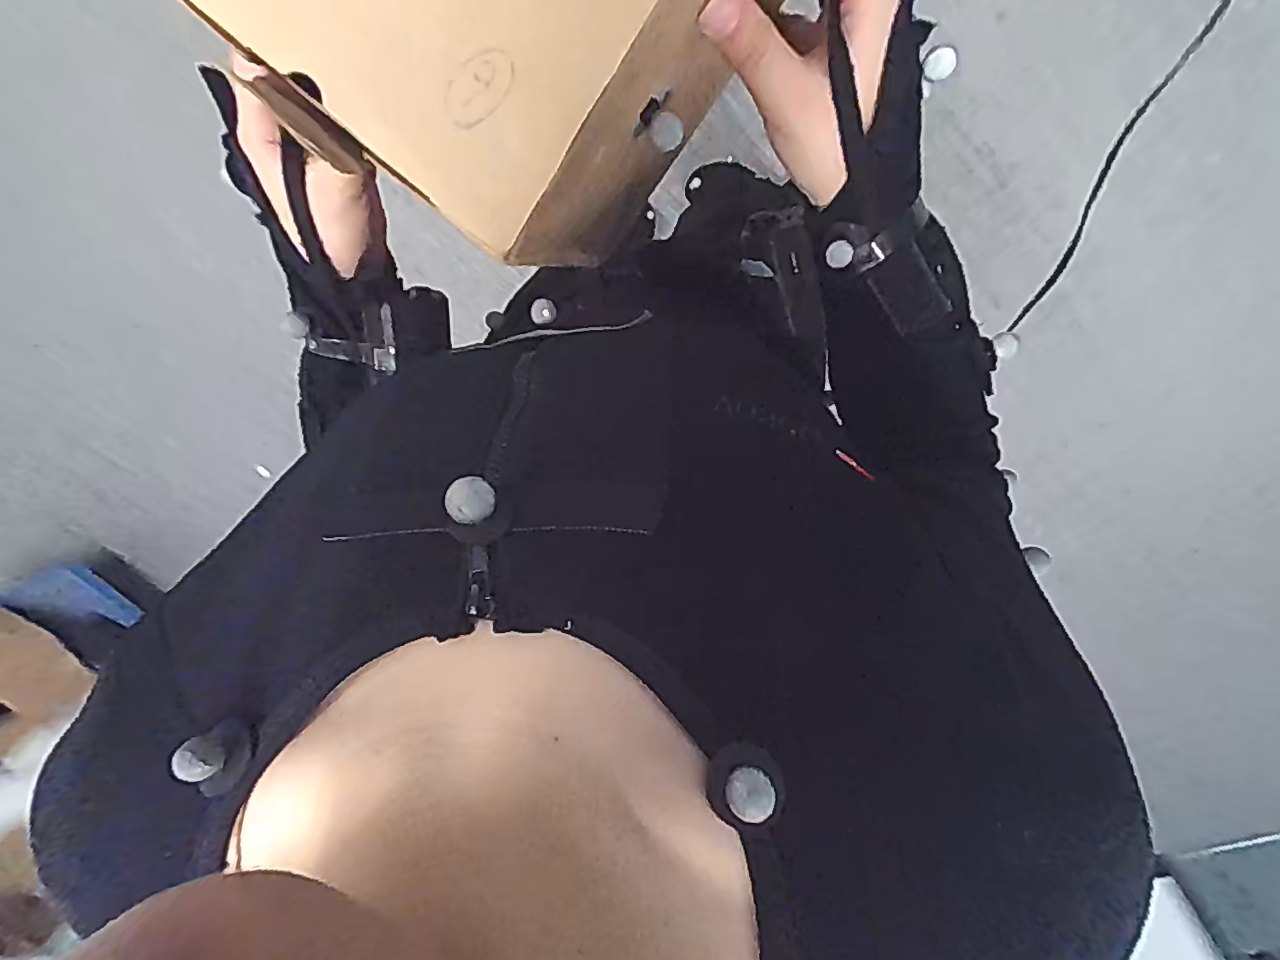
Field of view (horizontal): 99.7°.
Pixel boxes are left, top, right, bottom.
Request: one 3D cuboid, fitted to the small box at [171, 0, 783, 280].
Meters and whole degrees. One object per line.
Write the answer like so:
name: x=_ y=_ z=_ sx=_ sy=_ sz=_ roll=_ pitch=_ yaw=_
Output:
small box: x=-0.044 y=-0.212 z=0.233 sx=0.168 sy=0.176 sz=0.179 roll=39 pitch=113 yaw=-7
